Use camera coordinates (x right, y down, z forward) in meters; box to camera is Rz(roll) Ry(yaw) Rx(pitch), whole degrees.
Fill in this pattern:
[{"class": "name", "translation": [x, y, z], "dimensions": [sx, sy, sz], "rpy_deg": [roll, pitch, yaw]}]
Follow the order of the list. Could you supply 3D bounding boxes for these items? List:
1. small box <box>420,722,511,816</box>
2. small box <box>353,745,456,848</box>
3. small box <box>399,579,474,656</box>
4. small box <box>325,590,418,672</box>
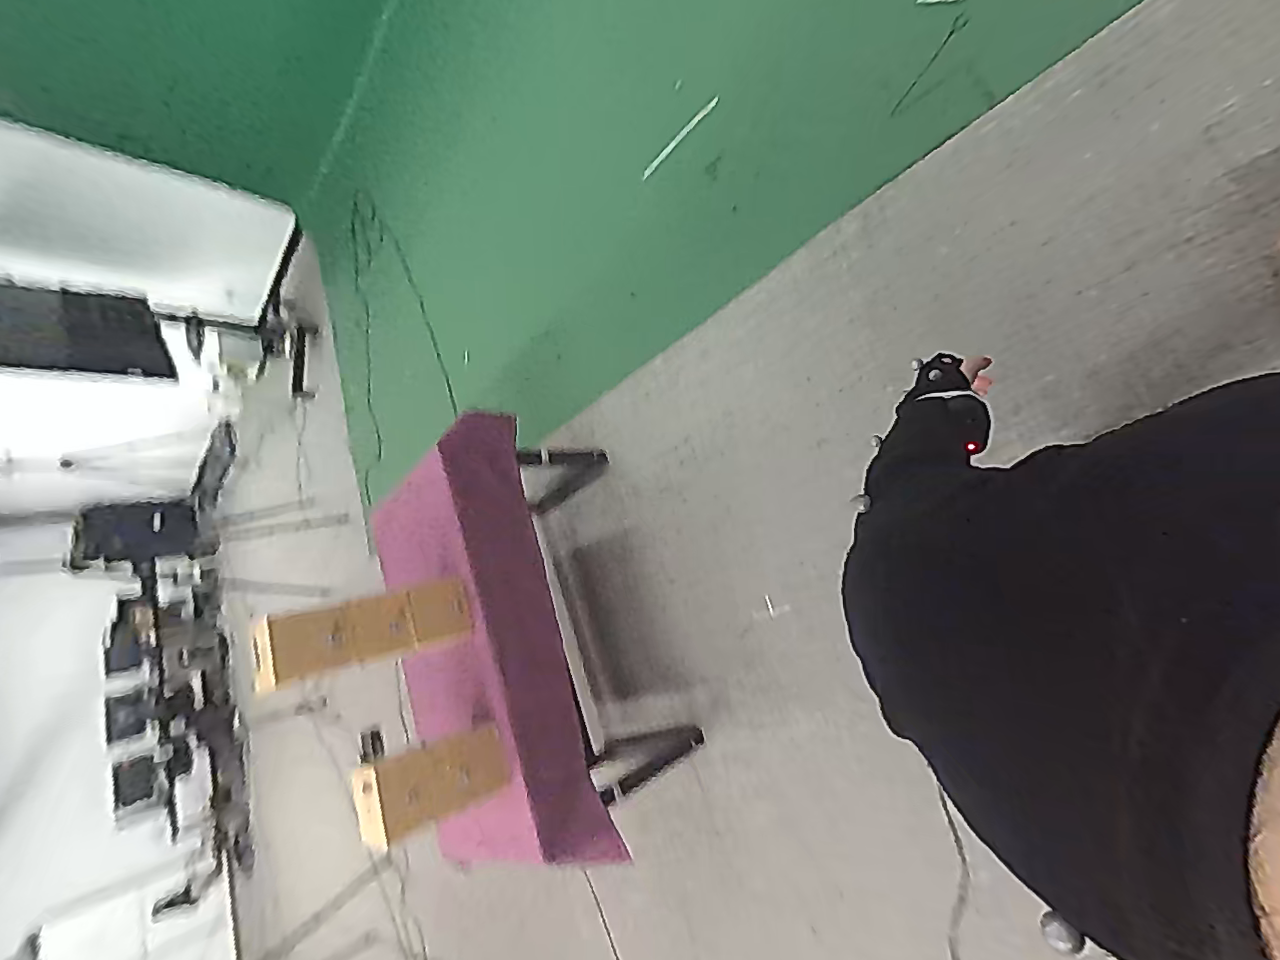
[{"class": "small box", "translation": [-0.473, 0.780, 1.470], "dimensions": [0.168, 0.176, 0.179], "rpy_deg": [-28, 73, 39]}, {"class": "small box", "translation": [-0.587, 0.780, 1.353], "dimensions": [0.168, 0.176, 0.179], "rpy_deg": [-28, 74, 39]}, {"class": "small box", "translation": [-0.610, 0.397, 1.579], "dimensions": [0.168, 0.176, 0.179], "rpy_deg": [-30, 72, 40]}, {"class": "small box", "translation": [-0.727, 0.408, 1.466], "dimensions": [0.179, 0.176, 0.168], "rpy_deg": [-28, 73, 39]}]
